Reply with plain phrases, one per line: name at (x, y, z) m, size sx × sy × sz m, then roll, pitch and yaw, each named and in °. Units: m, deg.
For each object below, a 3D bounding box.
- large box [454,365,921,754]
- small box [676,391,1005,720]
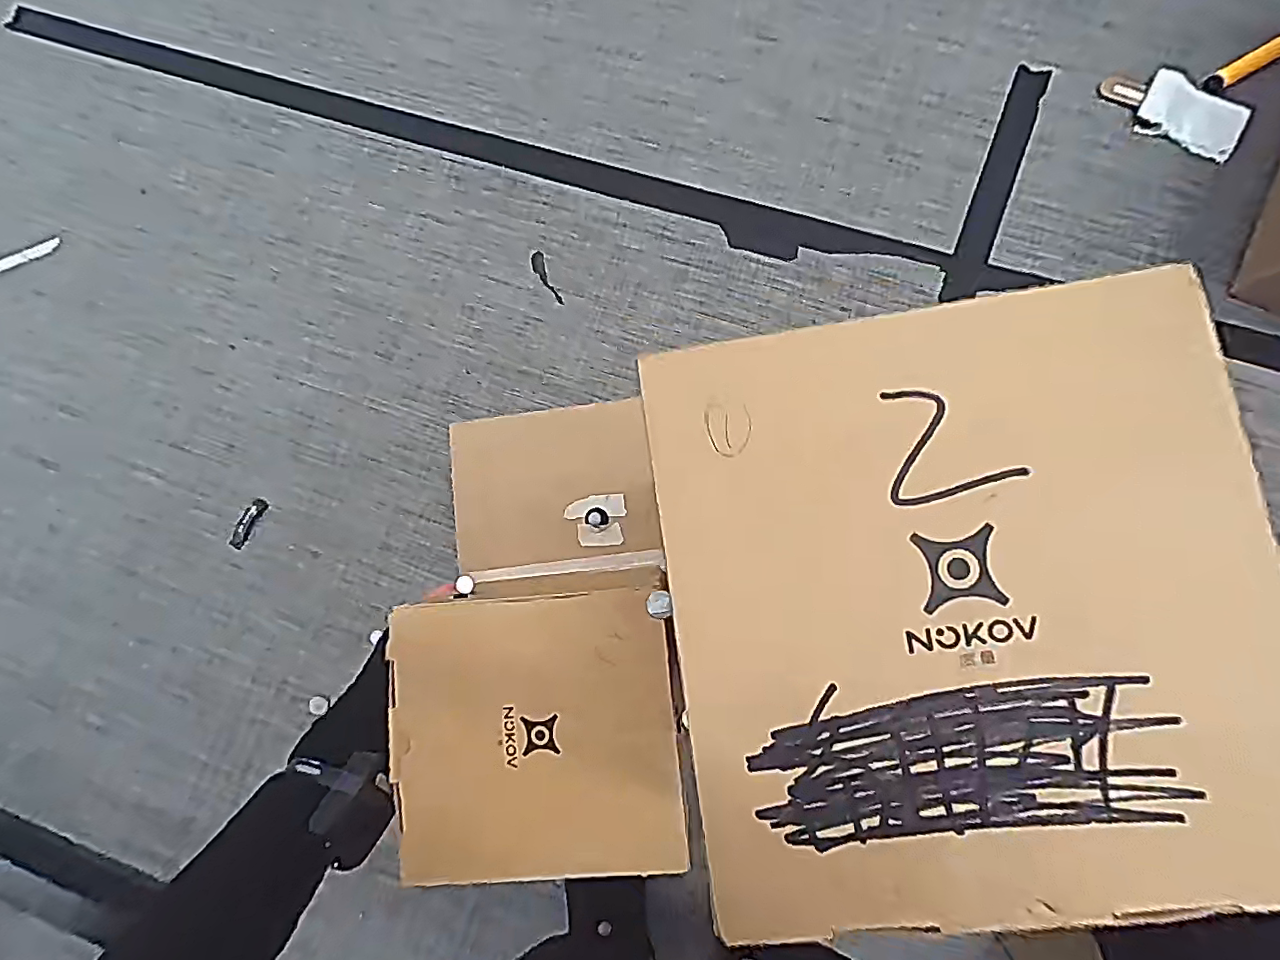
large box at (0.048, 0.087, 0.645) m, size 0.408 × 0.320 × 0.320 m, roll -8°, pitch 82°, yaw 5°
small box at (0.119, 0.051, 0.395) m, size 0.168 × 0.176 × 0.179 m, roll -9°, pitch 84°, yaw 5°
